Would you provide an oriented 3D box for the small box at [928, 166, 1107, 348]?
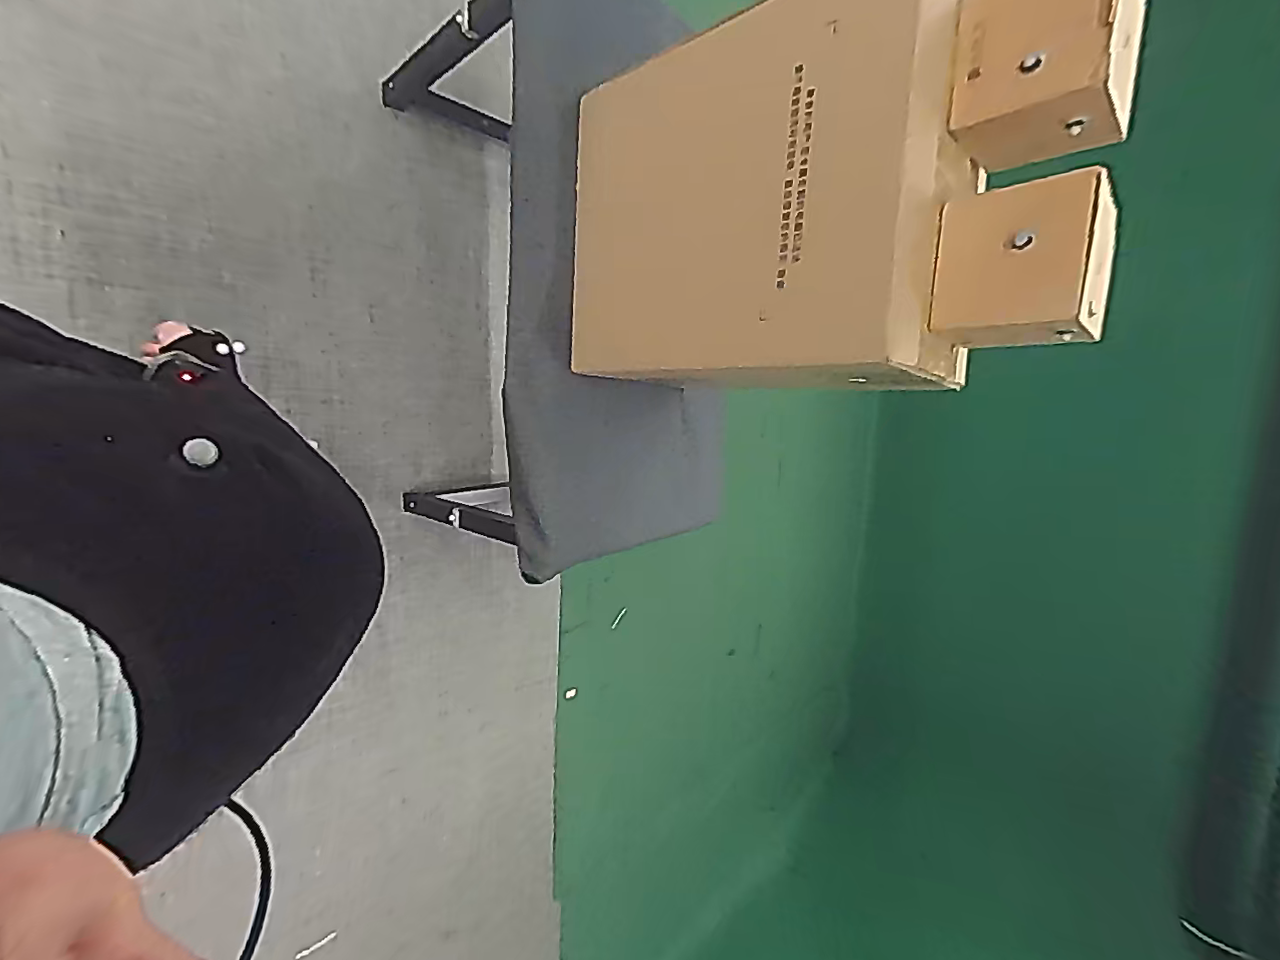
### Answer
[{"bbox_3d":[0.513,-0.286,0.740,0.168,0.176,0.179,-2,97,-43],"label":"small box"}]

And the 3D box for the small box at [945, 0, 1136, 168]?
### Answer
[{"bbox_3d":[0.522,-0.541,0.712,0.179,0.176,0.168,-5,101,-45],"label":"small box"}]
